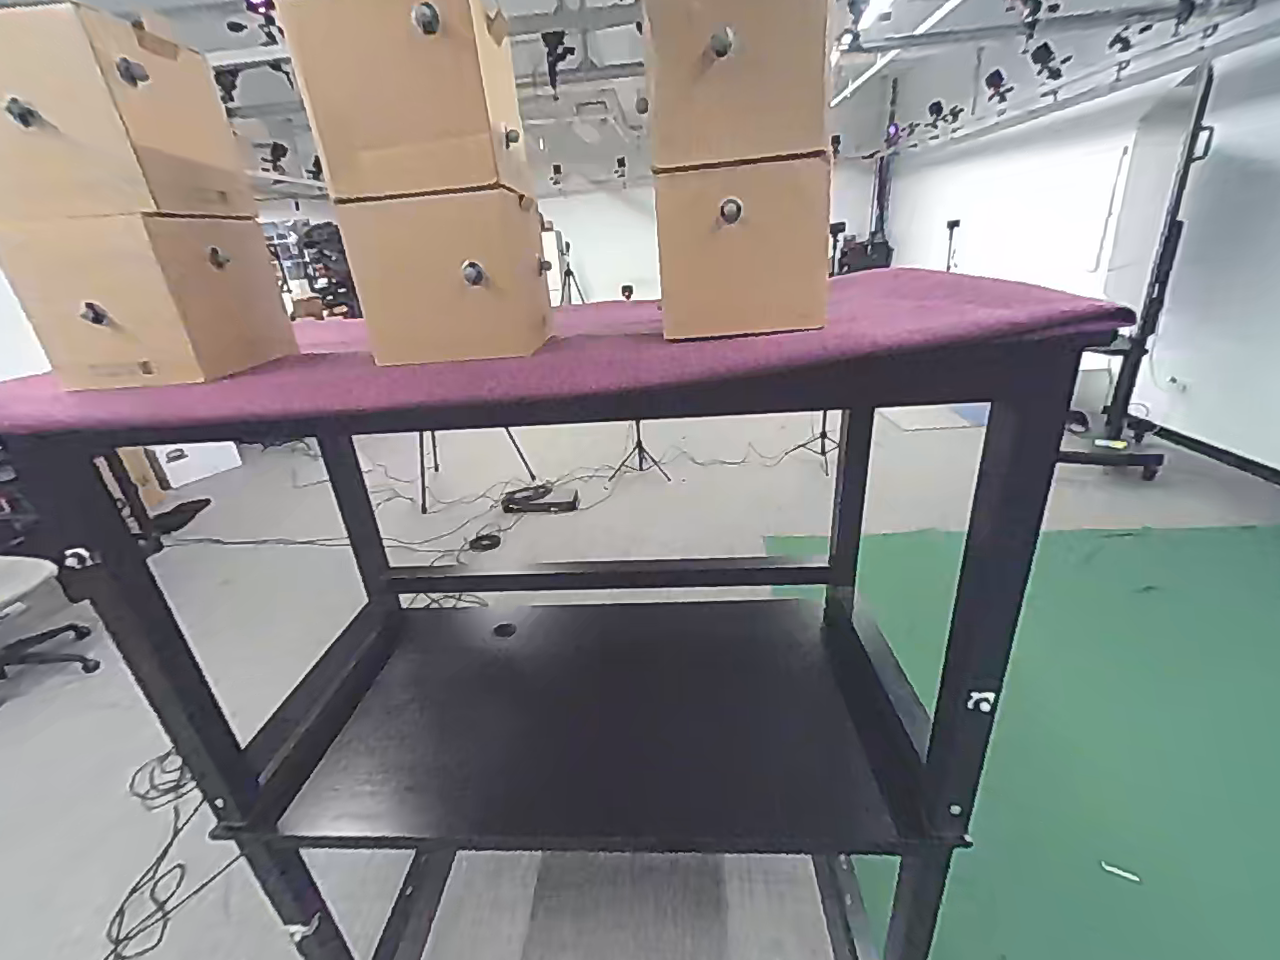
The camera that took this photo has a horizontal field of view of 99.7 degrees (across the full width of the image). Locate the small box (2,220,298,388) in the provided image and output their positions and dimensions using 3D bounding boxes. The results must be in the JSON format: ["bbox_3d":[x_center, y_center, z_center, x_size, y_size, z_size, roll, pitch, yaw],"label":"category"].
[{"bbox_3d":[-0.549,-0.207,0.642,0.168,0.176,0.179,-2,23,2],"label":"small box"}]

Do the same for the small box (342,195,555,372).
[{"bbox_3d":[-0.207,-0.232,0.645,0.179,0.176,0.168,-4,22,4],"label":"small box"}]

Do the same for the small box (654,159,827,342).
[{"bbox_3d":[0.115,-0.260,0.642,0.179,0.176,0.168,-2,21,6],"label":"small box"}]

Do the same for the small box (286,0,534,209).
[{"bbox_3d":[-0.226,-0.382,0.584,0.179,0.176,0.168,-4,22,2],"label":"small box"}]

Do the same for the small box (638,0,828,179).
[{"bbox_3d":[0.099,-0.414,0.584,0.179,0.176,0.168,-3,21,7],"label":"small box"}]
